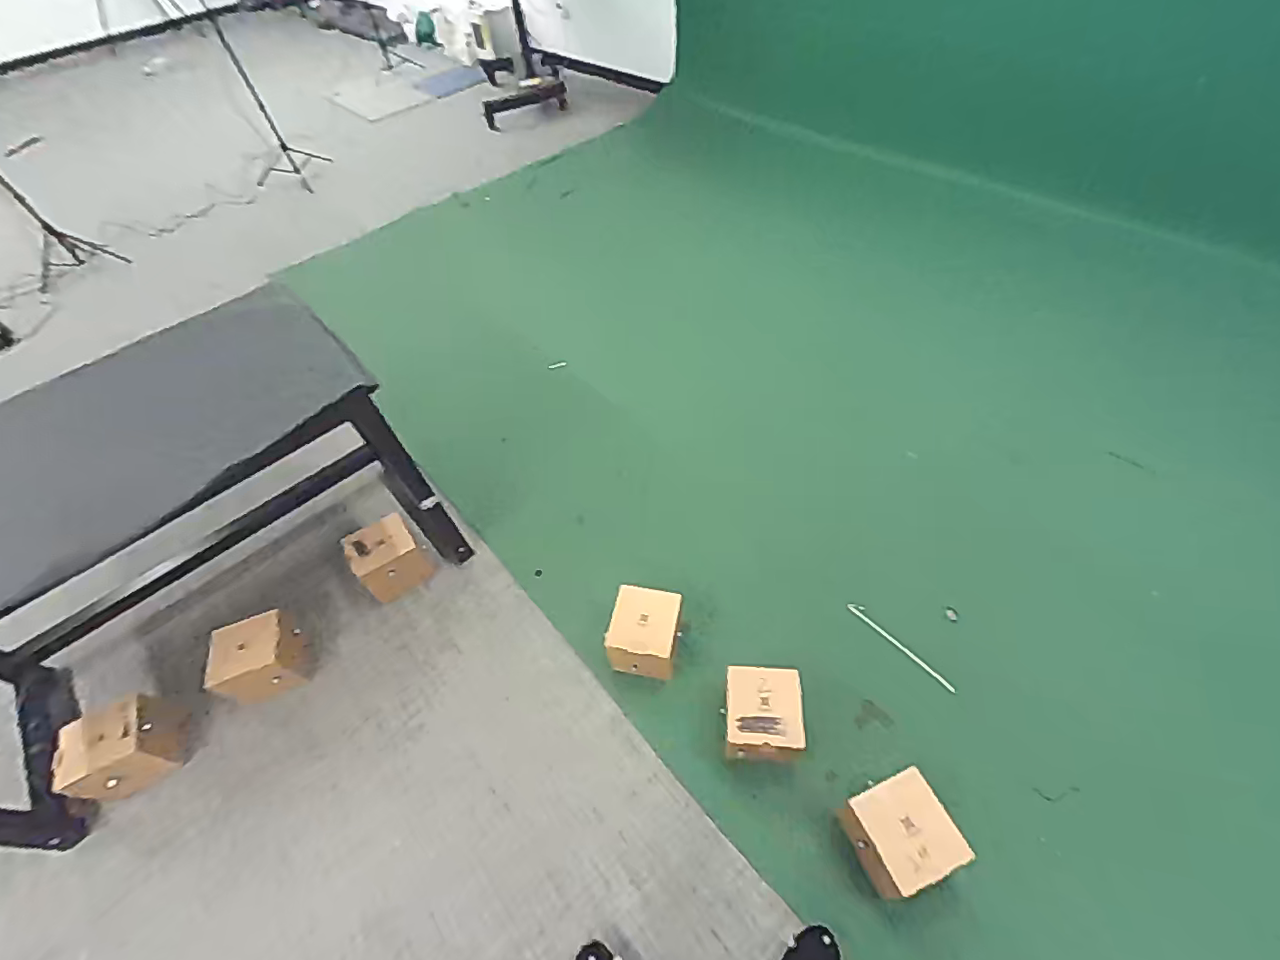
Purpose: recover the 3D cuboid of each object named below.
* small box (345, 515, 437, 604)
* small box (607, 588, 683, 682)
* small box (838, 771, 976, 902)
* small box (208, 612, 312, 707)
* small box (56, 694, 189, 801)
[{"bbox_3d":[-0.756,0.246,1.651,0.179,0.176,0.168,-32,56,-19],"label":"small box"},{"bbox_3d":[0.020,0.414,1.439,0.168,0.176,0.179,7,54,12],"label":"small box"},{"bbox_3d":[0.538,0.743,1.123,0.168,0.176,0.179,-21,53,-9],"label":"small box"},{"bbox_3d":[-1.034,0.496,1.489,0.179,0.176,0.168,-21,52,-8],"label":"small box"},{"bbox_3d":[-1.301,0.683,1.373,0.179,0.176,0.168,-27,55,-13],"label":"small box"}]
